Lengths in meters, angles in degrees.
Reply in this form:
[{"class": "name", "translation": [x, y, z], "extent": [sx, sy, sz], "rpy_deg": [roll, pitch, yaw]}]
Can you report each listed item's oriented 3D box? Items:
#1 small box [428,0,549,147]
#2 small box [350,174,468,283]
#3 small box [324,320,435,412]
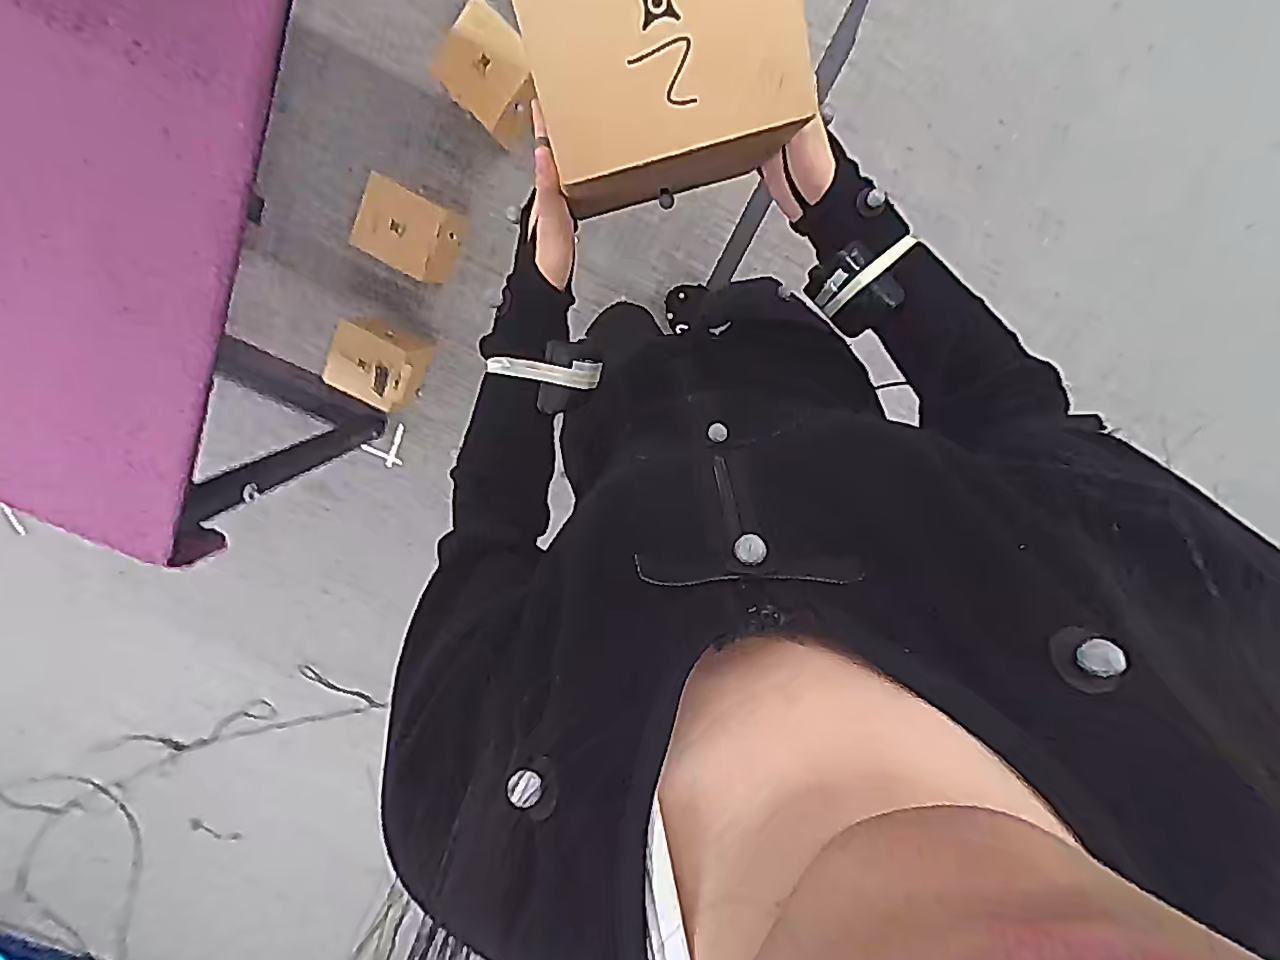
[{"class": "small box", "translation": [-0.314, -0.865, 1.164], "extent": [0.168, 0.176, 0.179], "rpy_deg": [41, 107, -12]}, {"class": "small box", "translation": [-0.533, -0.581, 1.270], "extent": [0.179, 0.176, 0.168], "rpy_deg": [27, 107, -5]}, {"class": "small box", "translation": [-0.651, -0.297, 1.370], "extent": [0.179, 0.176, 0.168], "rpy_deg": [26, 108, -5]}]
